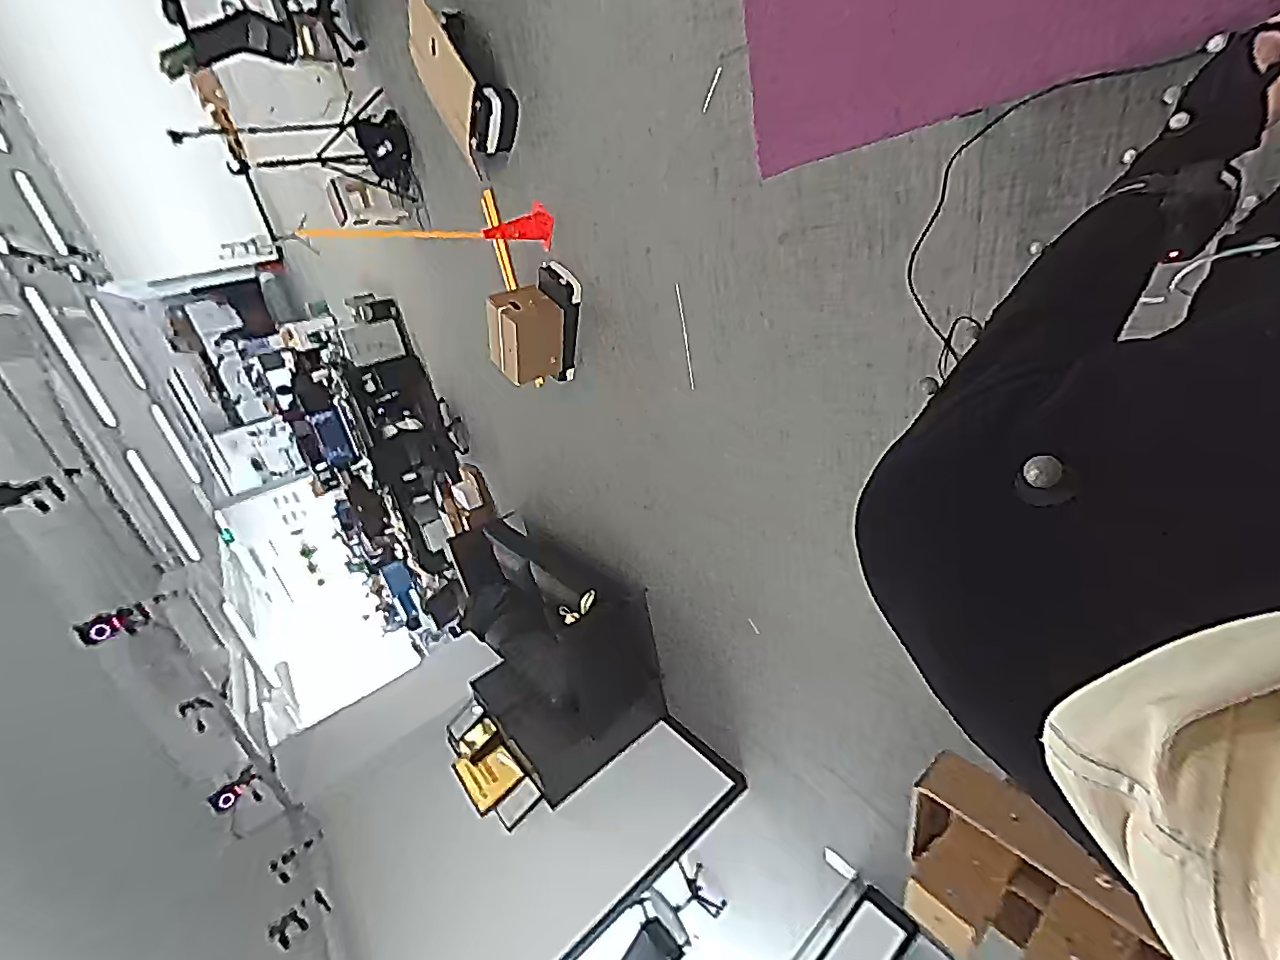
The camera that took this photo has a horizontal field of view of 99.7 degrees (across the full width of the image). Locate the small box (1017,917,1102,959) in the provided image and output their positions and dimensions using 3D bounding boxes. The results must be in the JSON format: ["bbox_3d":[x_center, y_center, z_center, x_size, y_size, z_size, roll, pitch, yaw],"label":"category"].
[{"bbox_3d":[1.024,1.234,1.314,0.168,0.176,0.179,22,131,48],"label":"small box"}]

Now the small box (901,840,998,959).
[{"bbox_3d":[0.863,1.166,1.508,0.179,0.176,0.168,25,131,47],"label":"small box"}]
